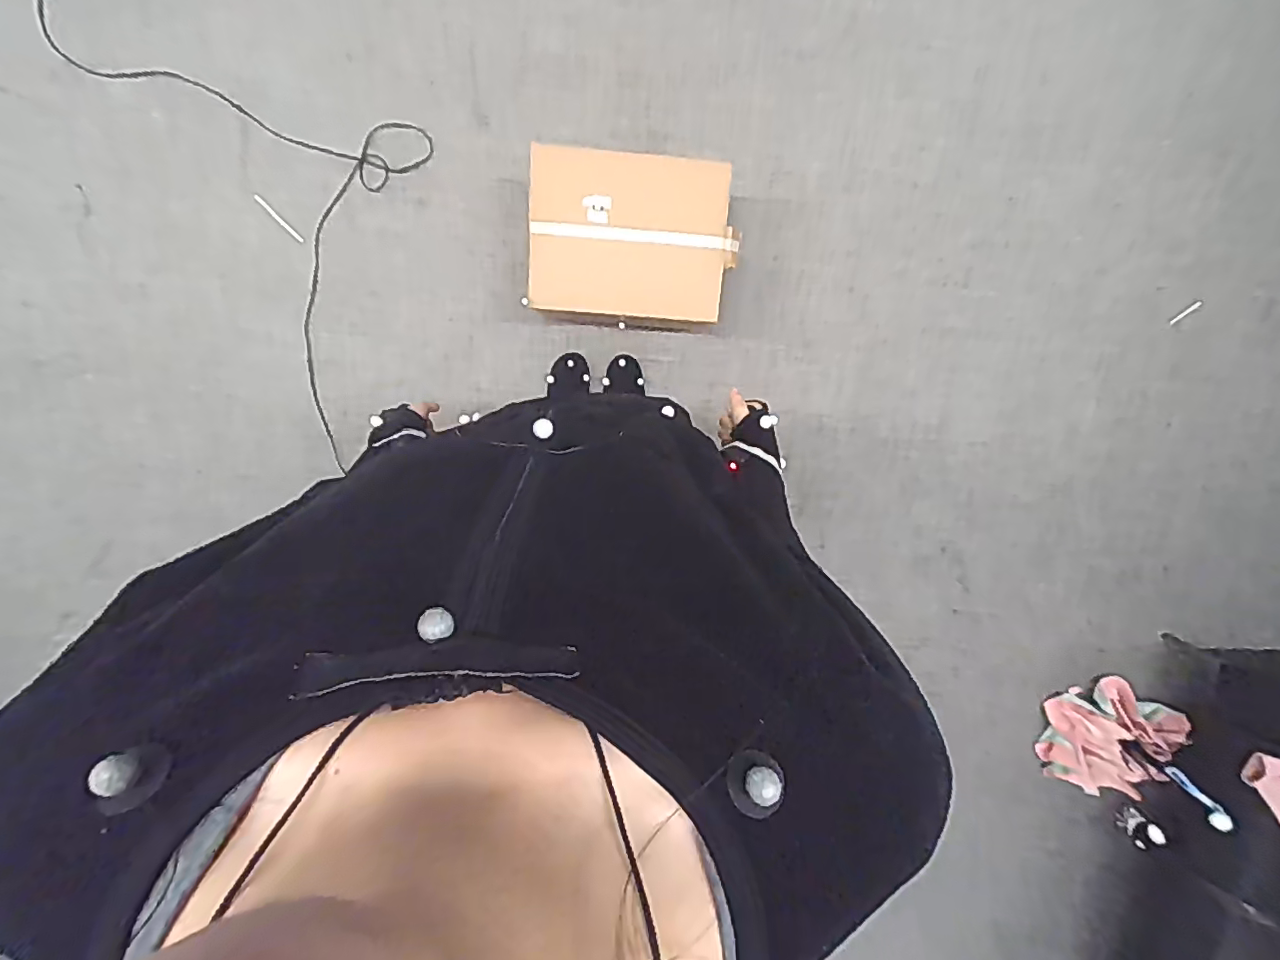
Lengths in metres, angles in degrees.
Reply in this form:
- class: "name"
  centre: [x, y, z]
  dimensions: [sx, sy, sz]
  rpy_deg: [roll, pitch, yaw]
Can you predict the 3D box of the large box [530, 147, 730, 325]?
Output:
- class: "large box"
  centre: [-0.028, -0.535, 1.258]
  dimensions: [0.408, 0.320, 0.320]
  rpy_deg: [4, 102, -4]
